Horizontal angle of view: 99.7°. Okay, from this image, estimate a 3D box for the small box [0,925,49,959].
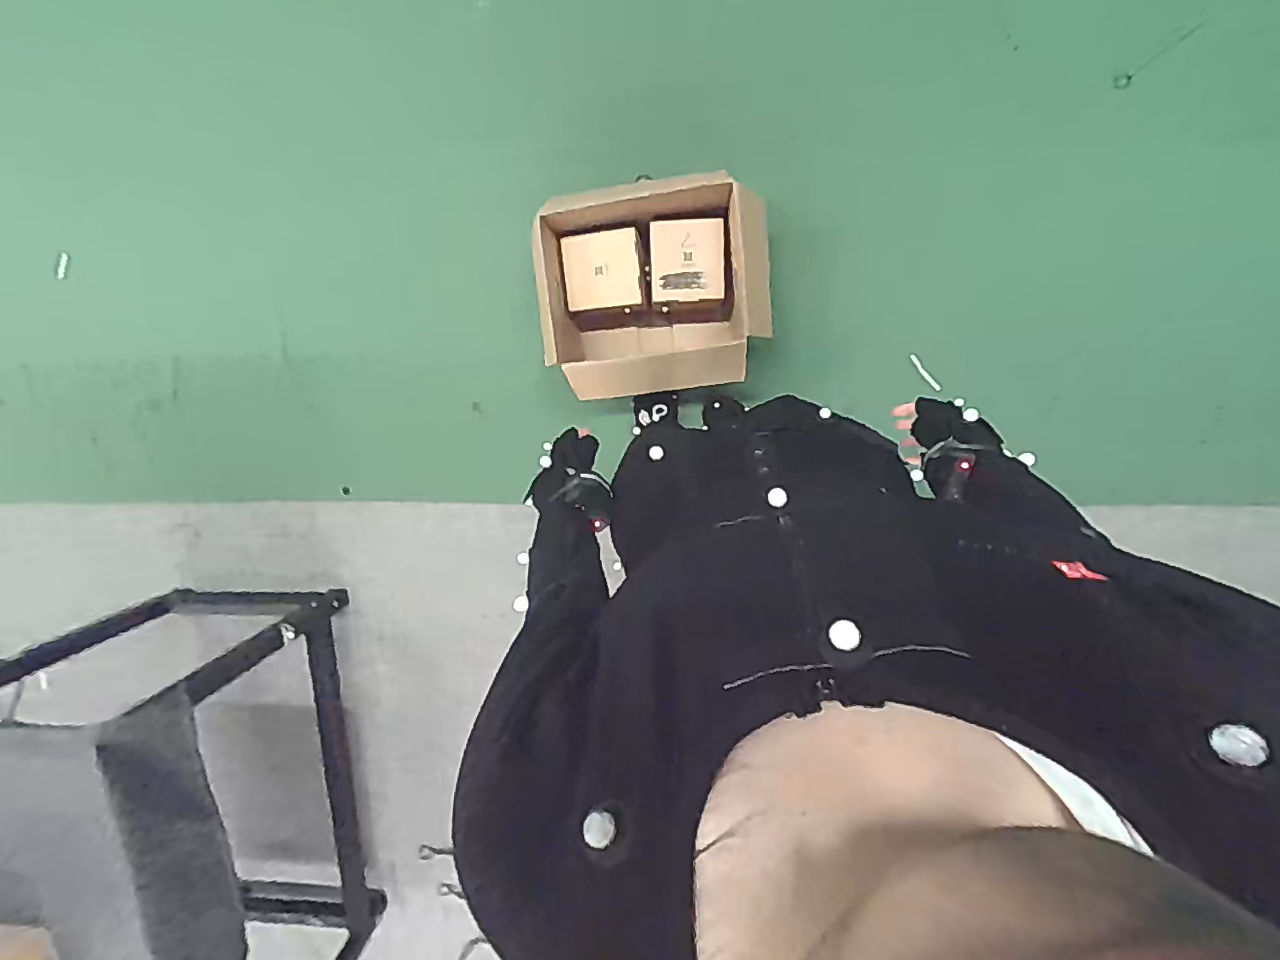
[{"bbox_3d":[-1.214,0.937,0.964,0.179,0.176,0.168,-1,100,7],"label":"small box"}]
